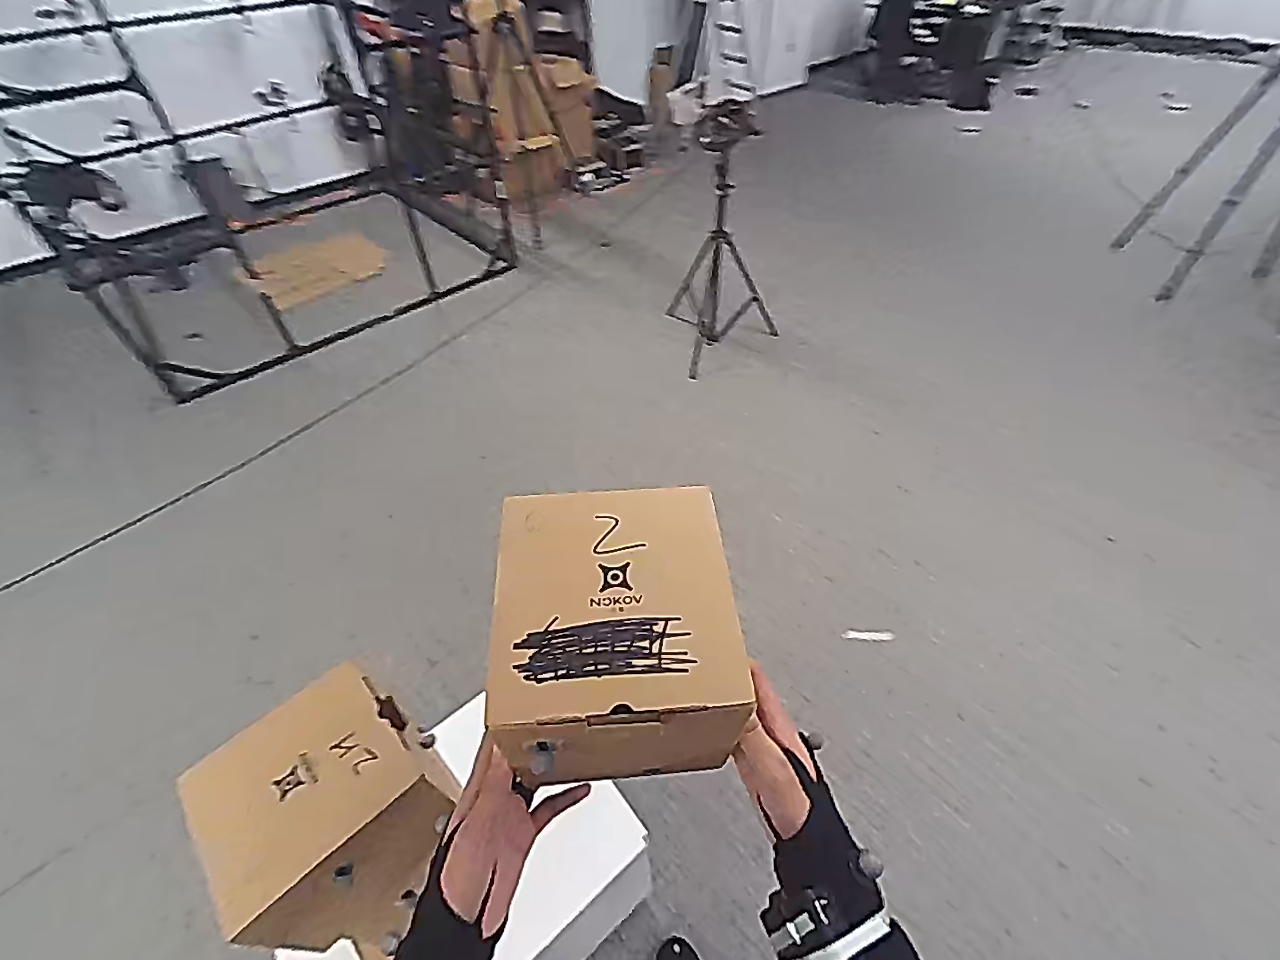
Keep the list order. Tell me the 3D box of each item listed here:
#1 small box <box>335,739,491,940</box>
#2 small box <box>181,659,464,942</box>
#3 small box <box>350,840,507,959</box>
[{"bbox_3d":[-0.318,0.440,0.693,0.179,0.176,0.168,34,56,30],"label":"small box"},{"bbox_3d":[-0.315,0.334,0.565,0.179,0.176,0.168,-35,55,-27],"label":"small box"},{"bbox_3d":[-0.320,0.573,0.790,0.168,0.176,0.179,33,55,29],"label":"small box"}]
